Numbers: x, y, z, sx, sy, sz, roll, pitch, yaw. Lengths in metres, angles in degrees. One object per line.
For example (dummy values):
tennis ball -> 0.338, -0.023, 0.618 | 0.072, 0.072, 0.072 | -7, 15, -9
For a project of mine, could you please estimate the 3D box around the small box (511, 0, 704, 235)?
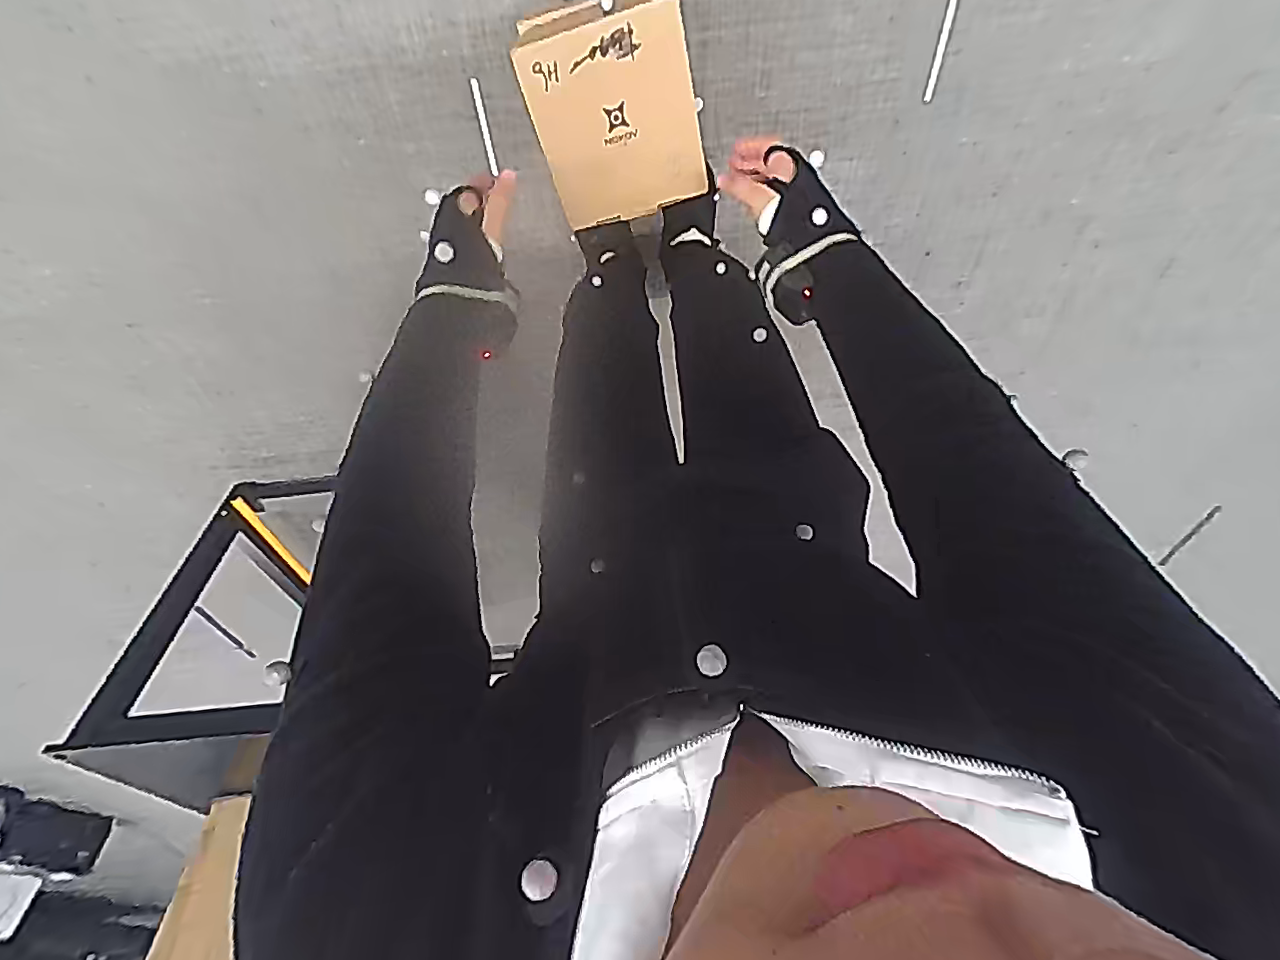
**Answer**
small box -> -0.027, -0.417, 0.617 | 0.168, 0.176, 0.179 | -12, 135, 9

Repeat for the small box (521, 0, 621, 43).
small box -> -0.047, -0.534, 0.730 | 0.168, 0.176, 0.179 | -10, 135, 8
